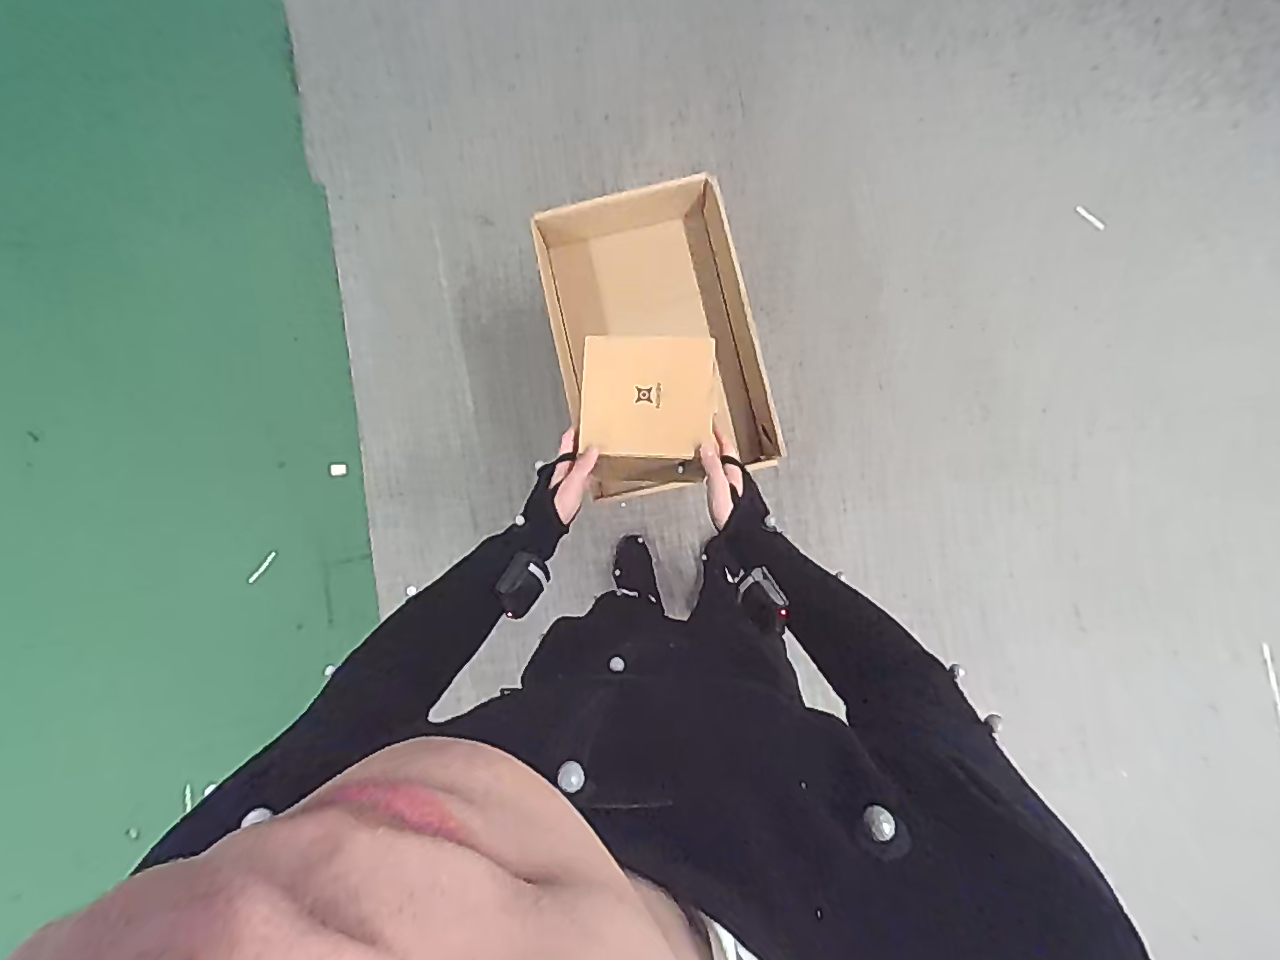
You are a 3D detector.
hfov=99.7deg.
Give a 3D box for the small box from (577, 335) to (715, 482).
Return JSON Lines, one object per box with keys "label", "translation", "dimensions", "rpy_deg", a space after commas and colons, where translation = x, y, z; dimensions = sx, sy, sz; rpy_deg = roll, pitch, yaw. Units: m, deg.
{"label": "small box", "translation": [0.011, -0.093, 0.774], "dimensions": [0.179, 0.176, 0.168], "rpy_deg": [1, 78, 1]}
